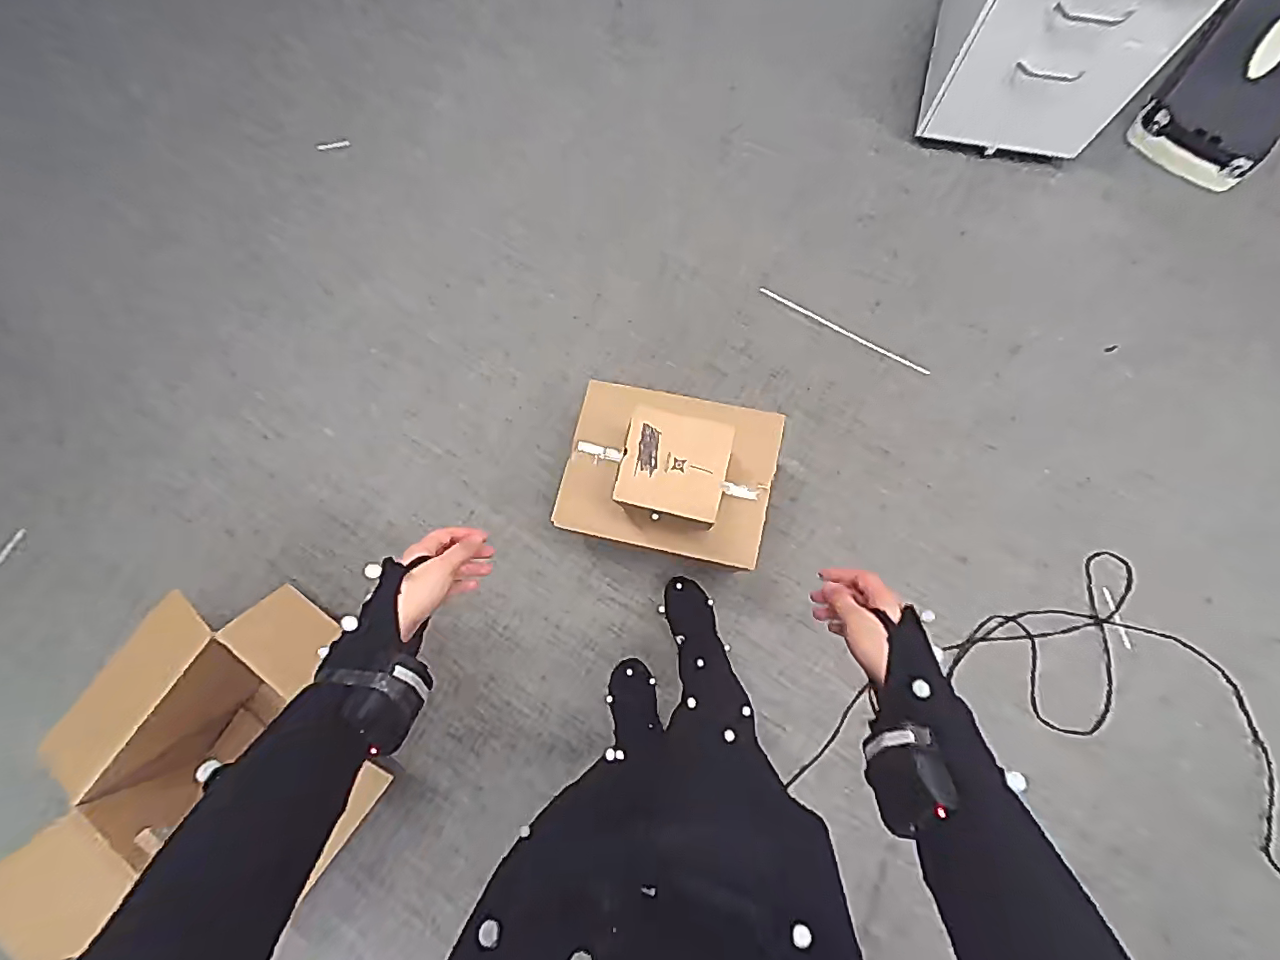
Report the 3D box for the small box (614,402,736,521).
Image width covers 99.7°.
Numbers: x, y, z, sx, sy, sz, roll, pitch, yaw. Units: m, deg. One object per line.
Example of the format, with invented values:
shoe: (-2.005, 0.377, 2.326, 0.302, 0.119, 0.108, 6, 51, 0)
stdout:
small box: (0.065, -0.024, 0.974, 0.179, 0.176, 0.168, 13, 83, 7)
